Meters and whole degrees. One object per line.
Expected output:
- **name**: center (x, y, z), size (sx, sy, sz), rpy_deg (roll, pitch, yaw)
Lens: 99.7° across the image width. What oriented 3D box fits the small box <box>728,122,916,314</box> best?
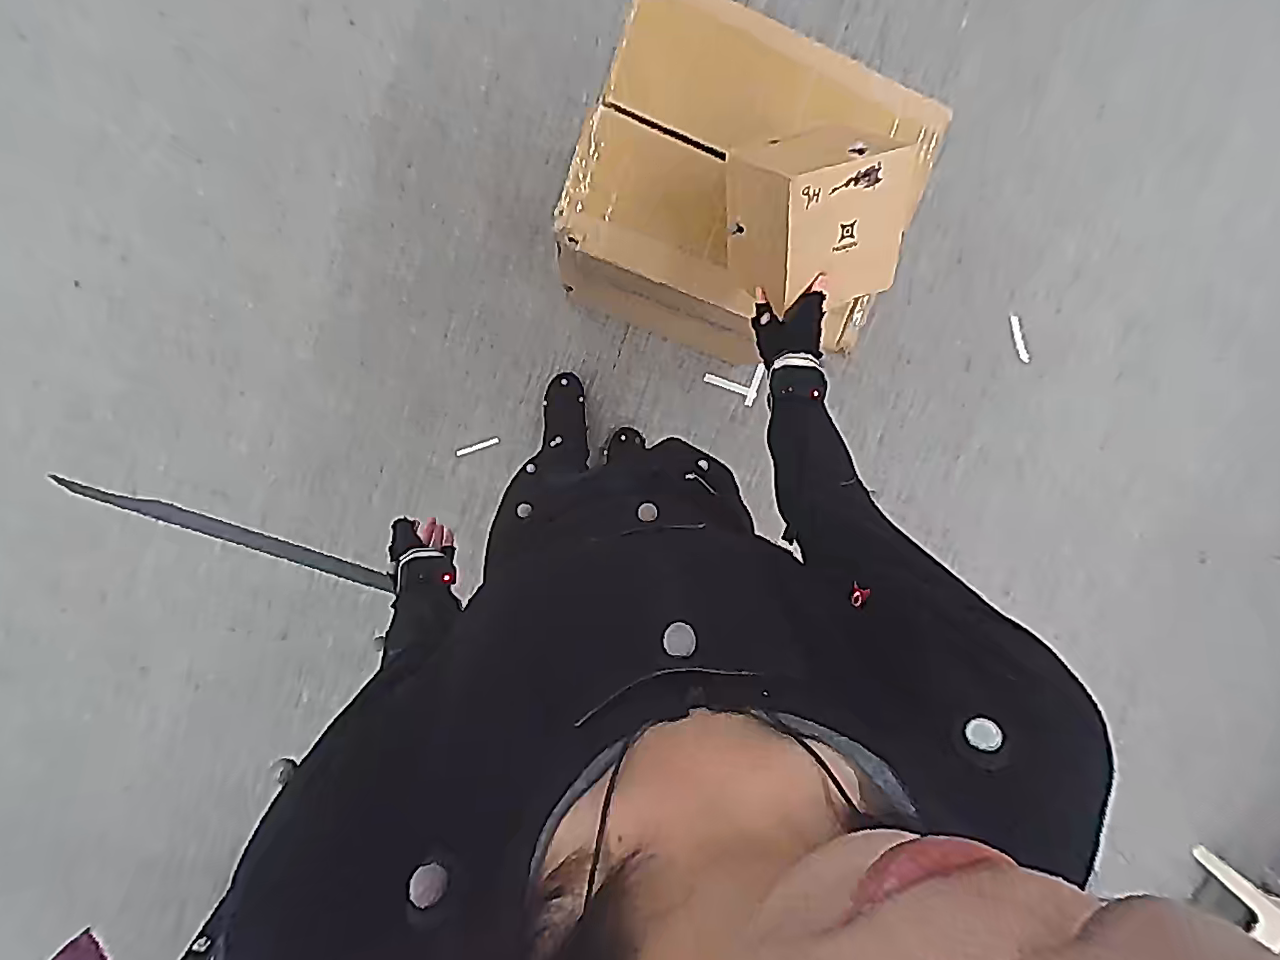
- **small box**: center (0.227, -0.353, 0.722), size (0.168, 0.176, 0.179), rpy_deg (-19, 132, -8)
